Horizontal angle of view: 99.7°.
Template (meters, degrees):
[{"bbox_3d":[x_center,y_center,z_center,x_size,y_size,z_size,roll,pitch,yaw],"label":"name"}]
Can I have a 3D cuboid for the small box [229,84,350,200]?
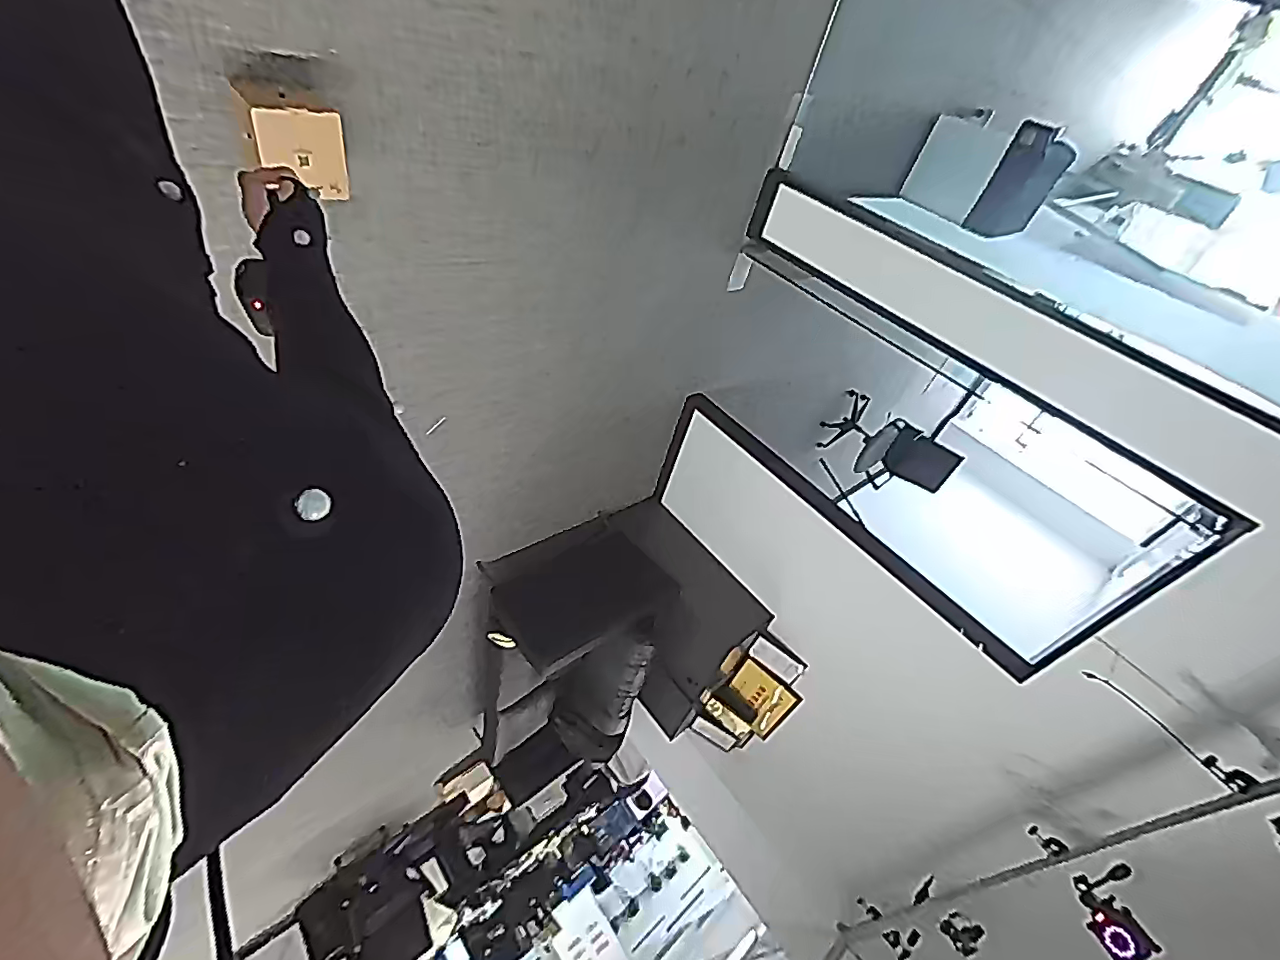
[{"bbox_3d":[-0.755,-0.729,1.171,0.168,0.176,0.179,-22,145,-36],"label":"small box"}]
